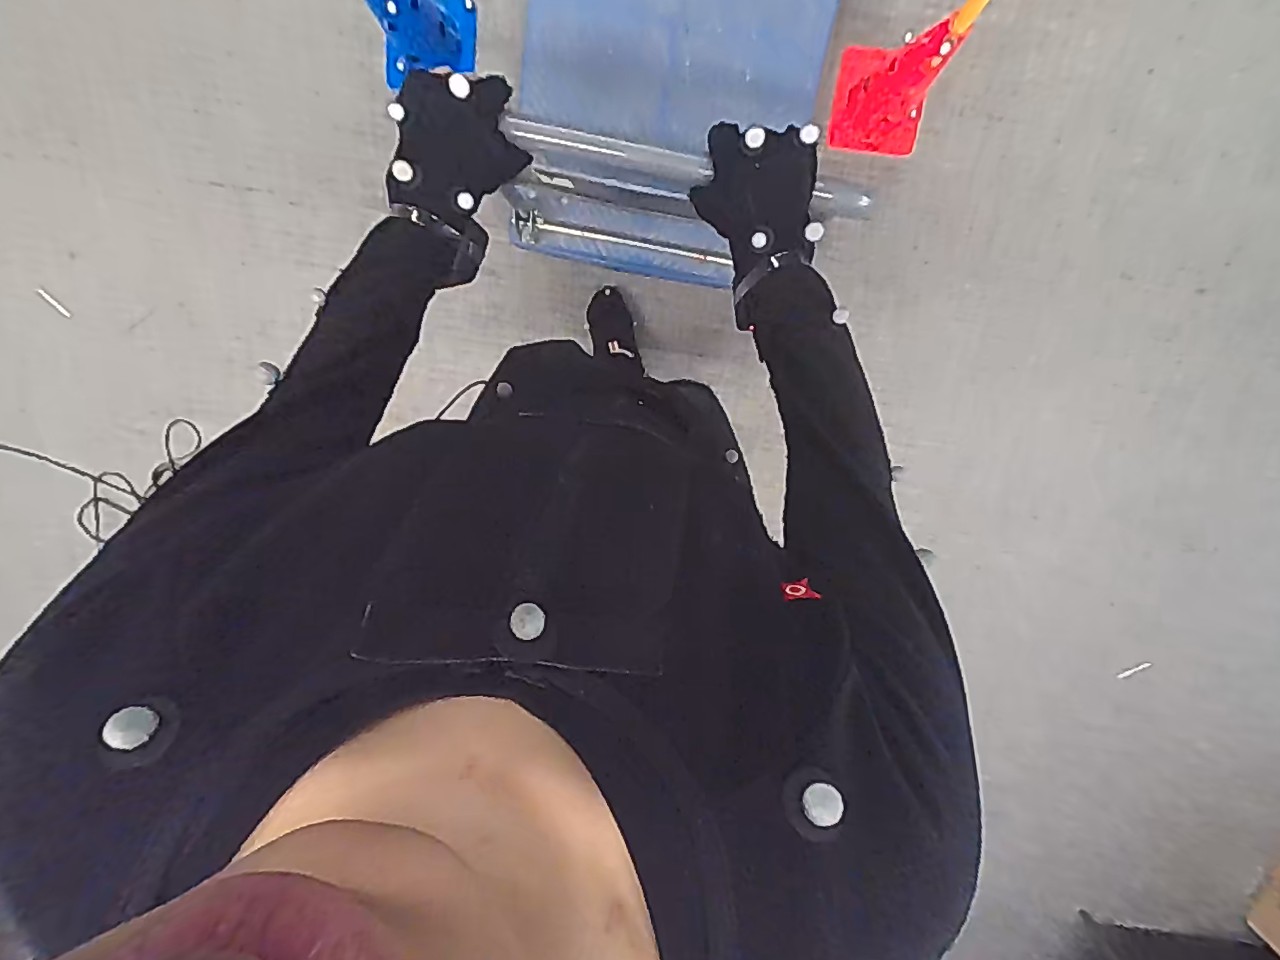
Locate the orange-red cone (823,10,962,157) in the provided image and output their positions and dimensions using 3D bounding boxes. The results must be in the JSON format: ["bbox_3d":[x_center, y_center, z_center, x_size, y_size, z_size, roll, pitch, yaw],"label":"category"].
[{"bbox_3d":[0.519,-0.803,1.060,0.199,0.360,0.198,8,107,1],"label":"orange-red cone"}]
